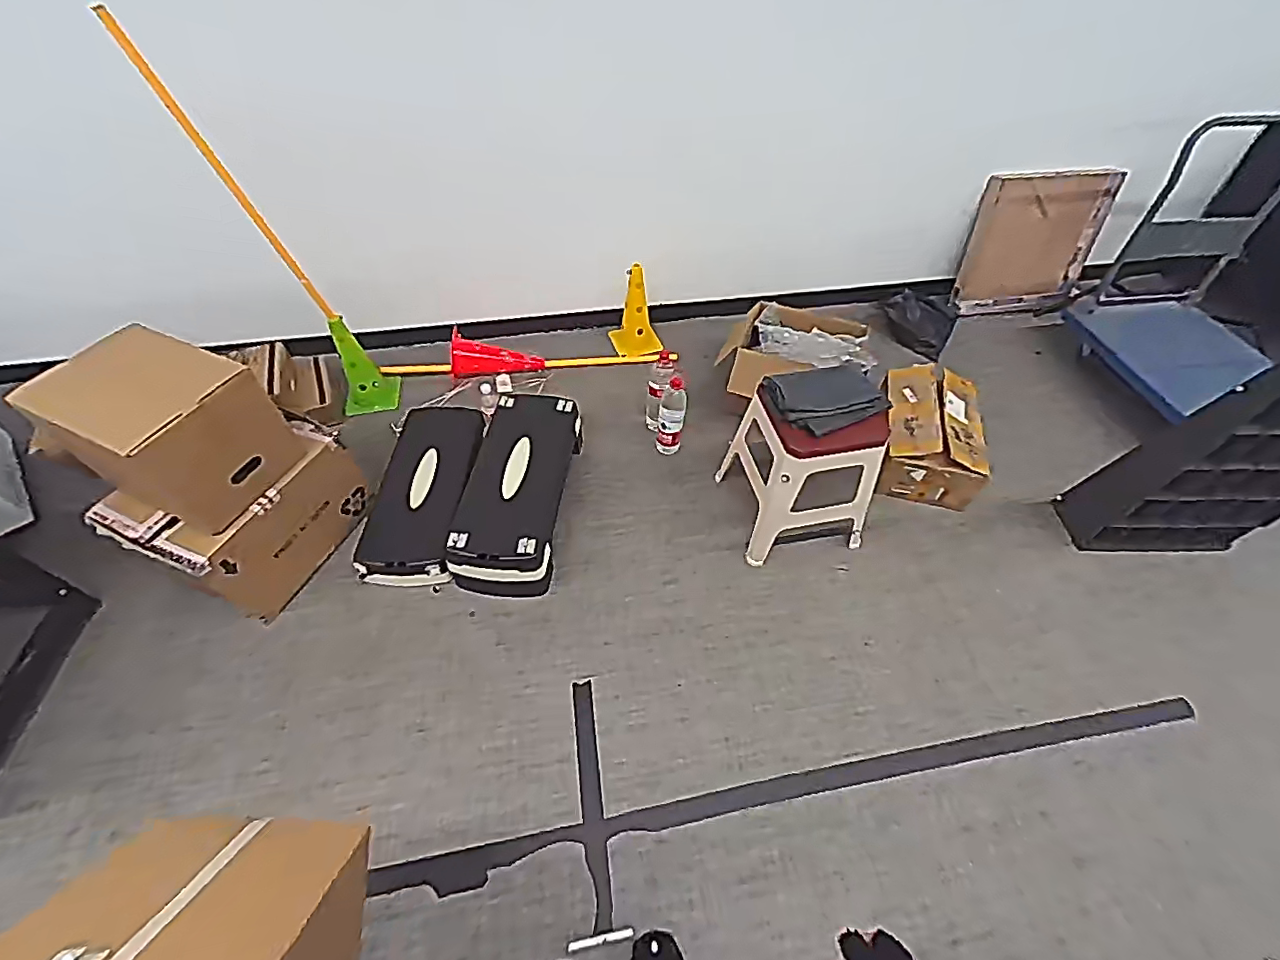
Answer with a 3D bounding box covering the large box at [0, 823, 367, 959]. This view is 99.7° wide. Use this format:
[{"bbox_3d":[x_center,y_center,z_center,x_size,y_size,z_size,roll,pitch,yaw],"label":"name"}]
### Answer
[{"bbox_3d":[-0.568,0.679,0.630,0.320,0.408,0.320,4,88,-4],"label":"large box"}]
